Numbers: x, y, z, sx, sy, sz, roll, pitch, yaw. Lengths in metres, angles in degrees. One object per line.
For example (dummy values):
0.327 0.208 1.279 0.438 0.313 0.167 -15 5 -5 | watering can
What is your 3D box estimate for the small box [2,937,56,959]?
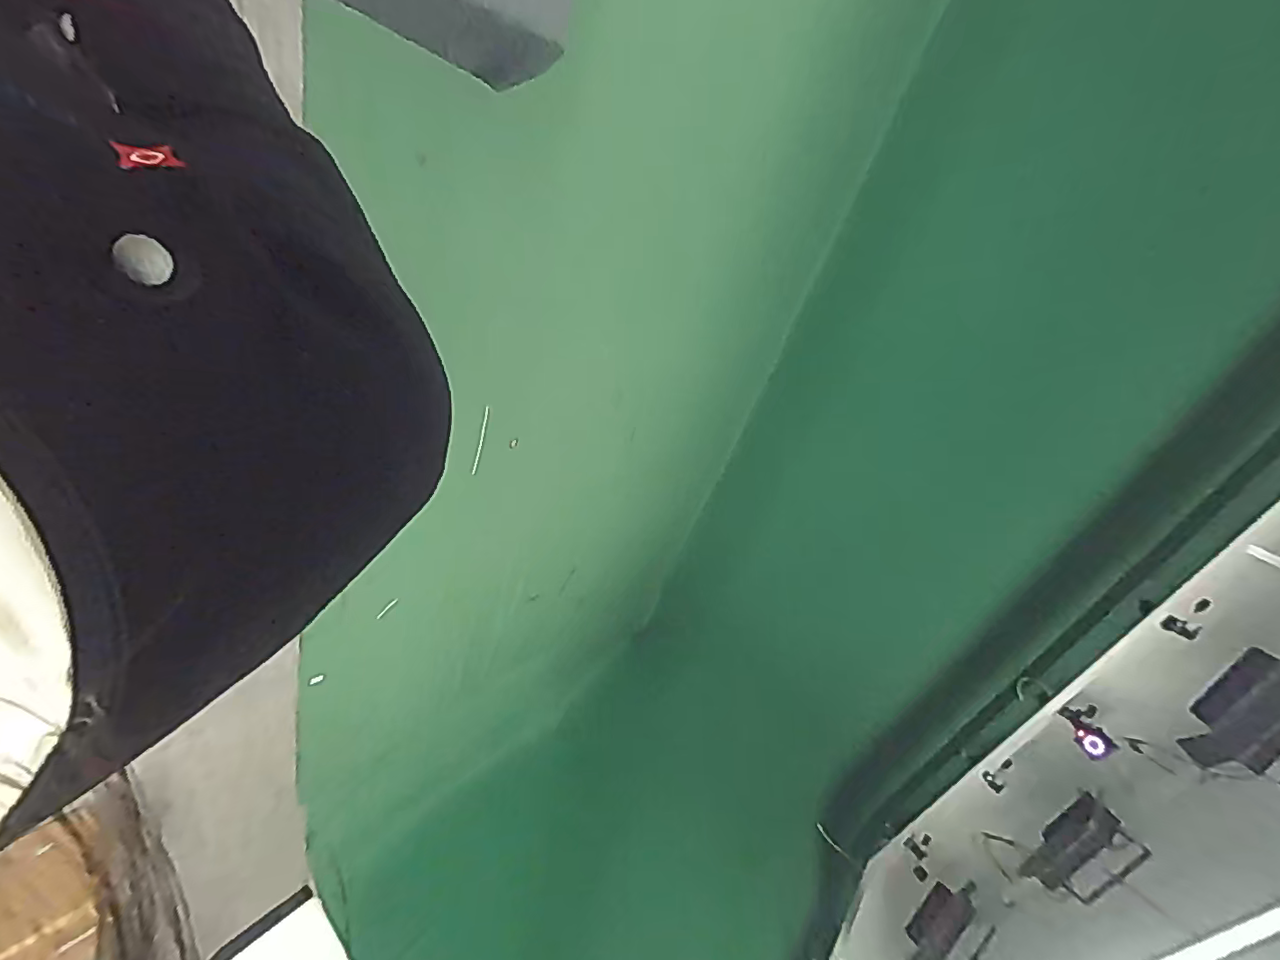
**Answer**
-1.650 1.367 1.416 0.179 0.176 0.168 -13 132 -54 | small box
